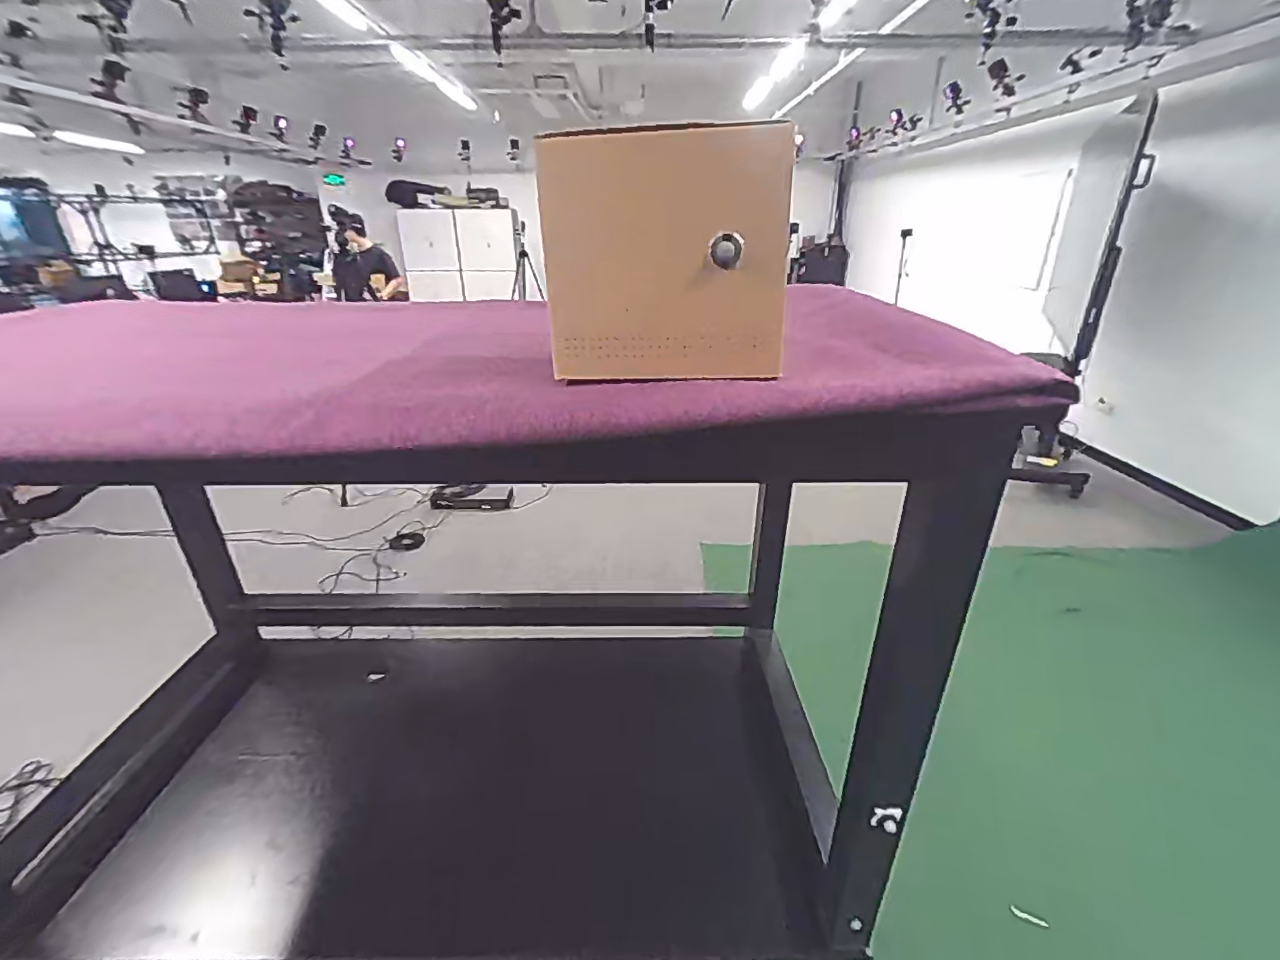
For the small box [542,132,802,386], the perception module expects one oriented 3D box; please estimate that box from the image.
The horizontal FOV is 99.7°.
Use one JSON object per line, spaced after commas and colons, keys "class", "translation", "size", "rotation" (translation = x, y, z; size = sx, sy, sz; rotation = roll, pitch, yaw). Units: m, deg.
{"class": "small box", "translation": [0.029, -0.179, 0.461], "size": [0.179, 0.176, 0.168], "rotation": [0, 21, 6]}
